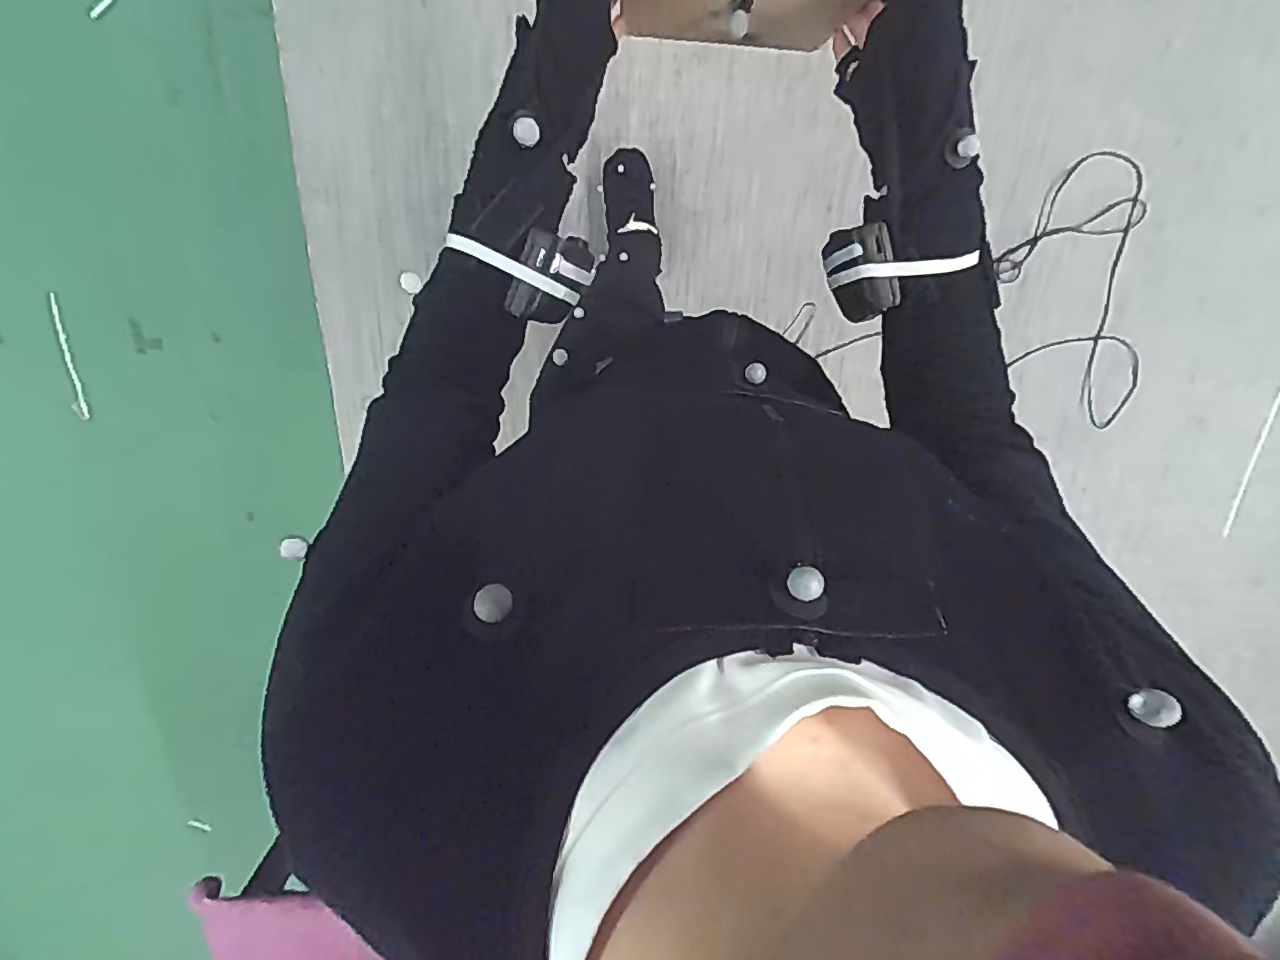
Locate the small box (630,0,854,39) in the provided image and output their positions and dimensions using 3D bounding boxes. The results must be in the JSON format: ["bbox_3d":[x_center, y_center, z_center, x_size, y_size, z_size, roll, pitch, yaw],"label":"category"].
[{"bbox_3d":[0.075,-0.404,0.333,0.168,0.176,0.179,0,113,-1],"label":"small box"}]
